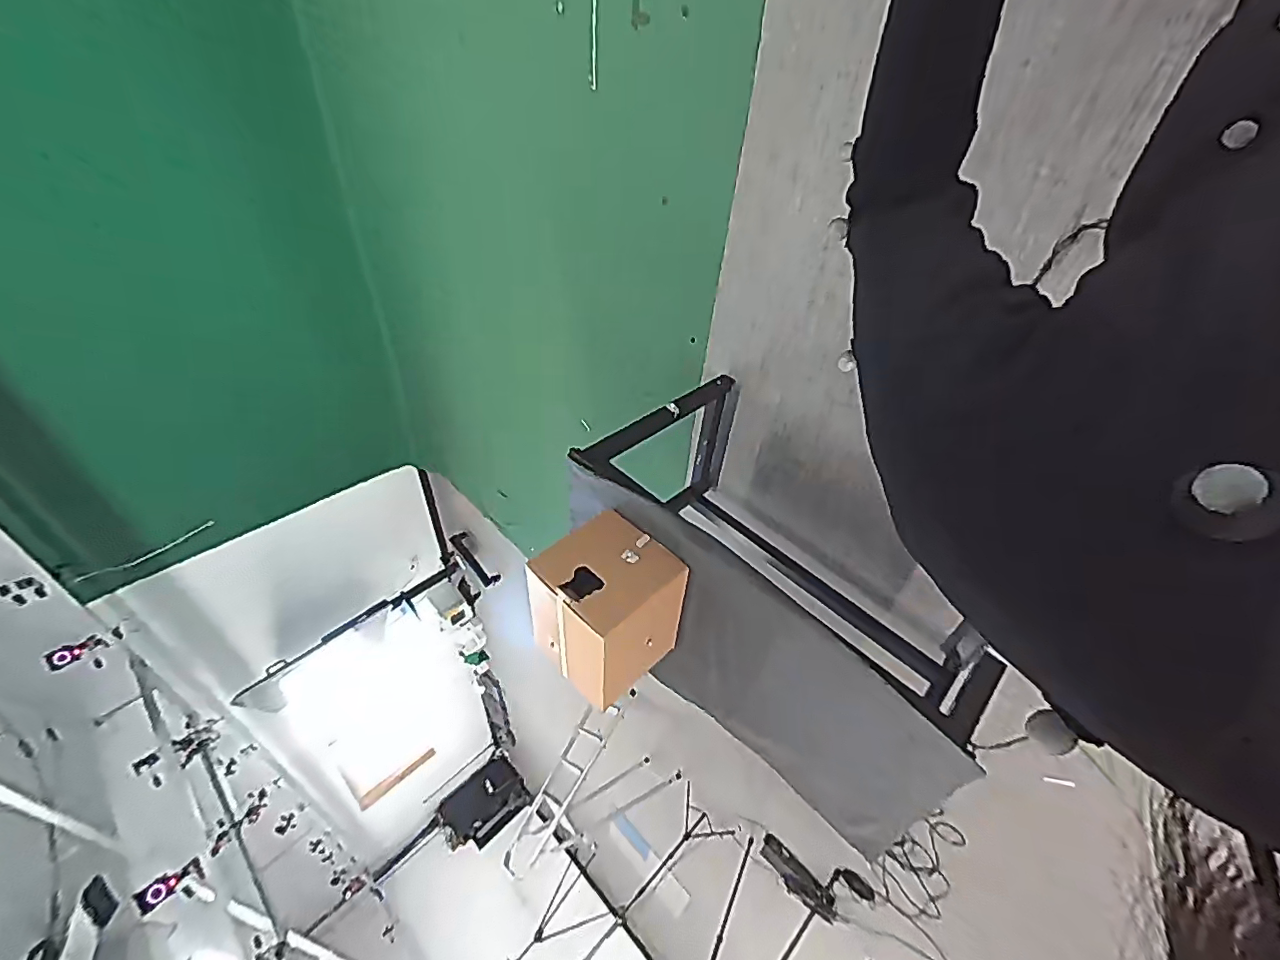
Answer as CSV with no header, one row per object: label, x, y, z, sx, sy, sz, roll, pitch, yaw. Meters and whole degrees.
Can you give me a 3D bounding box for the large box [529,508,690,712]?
large box,-0.082,0.361,1.539,0.320,0.320,0.408,36,141,30
